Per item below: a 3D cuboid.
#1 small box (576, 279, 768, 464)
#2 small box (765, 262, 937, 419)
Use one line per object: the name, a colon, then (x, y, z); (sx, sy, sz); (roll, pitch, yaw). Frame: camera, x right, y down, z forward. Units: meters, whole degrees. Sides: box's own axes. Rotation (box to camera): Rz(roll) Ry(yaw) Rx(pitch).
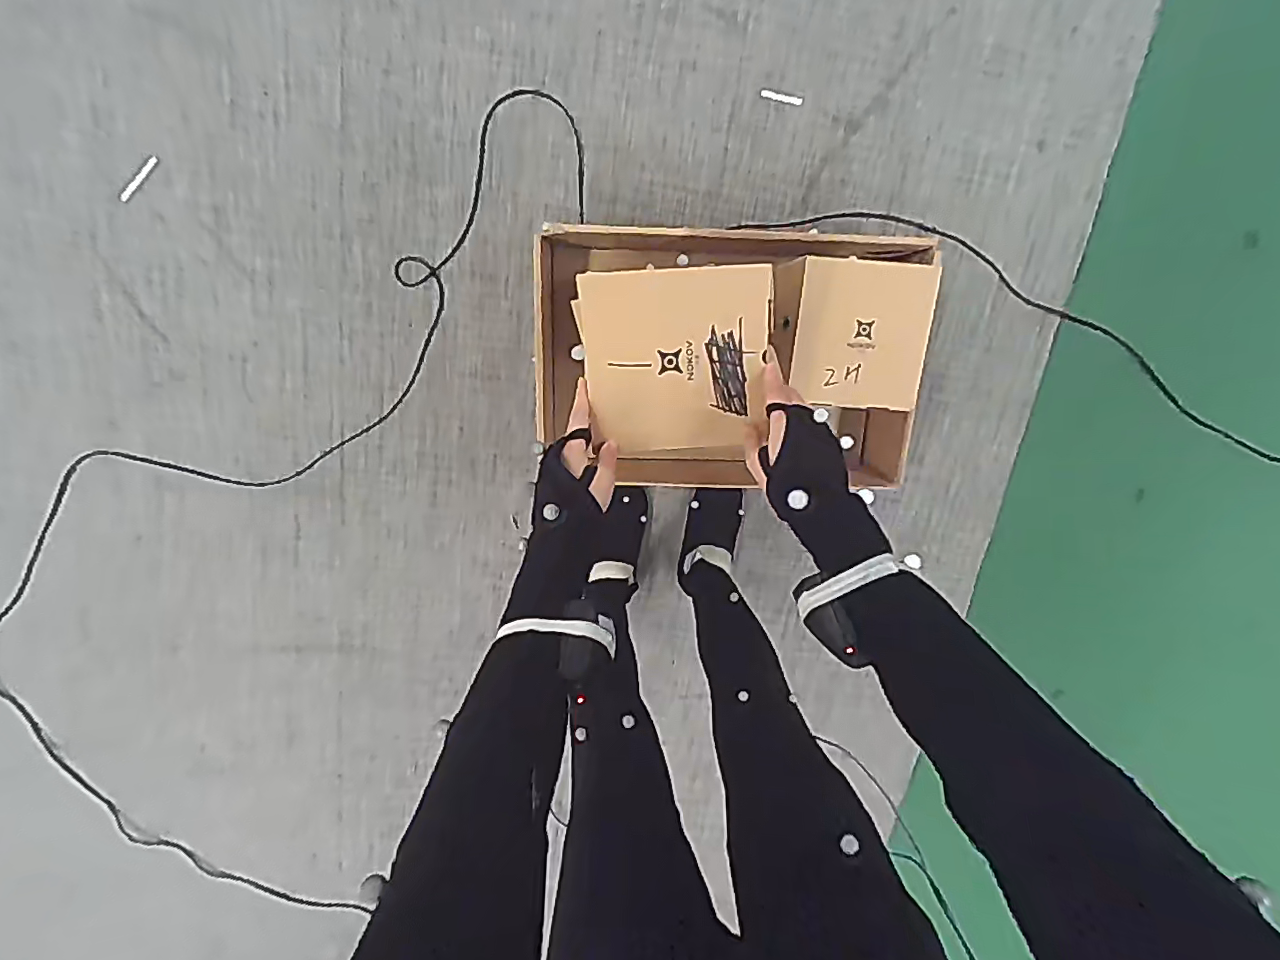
small box: (0.027, -0.122, 0.578); (0.179, 0.176, 0.168); (-4, 107, -2)
small box: (0.263, -0.187, 0.733); (0.168, 0.176, 0.179); (4, 106, -2)
